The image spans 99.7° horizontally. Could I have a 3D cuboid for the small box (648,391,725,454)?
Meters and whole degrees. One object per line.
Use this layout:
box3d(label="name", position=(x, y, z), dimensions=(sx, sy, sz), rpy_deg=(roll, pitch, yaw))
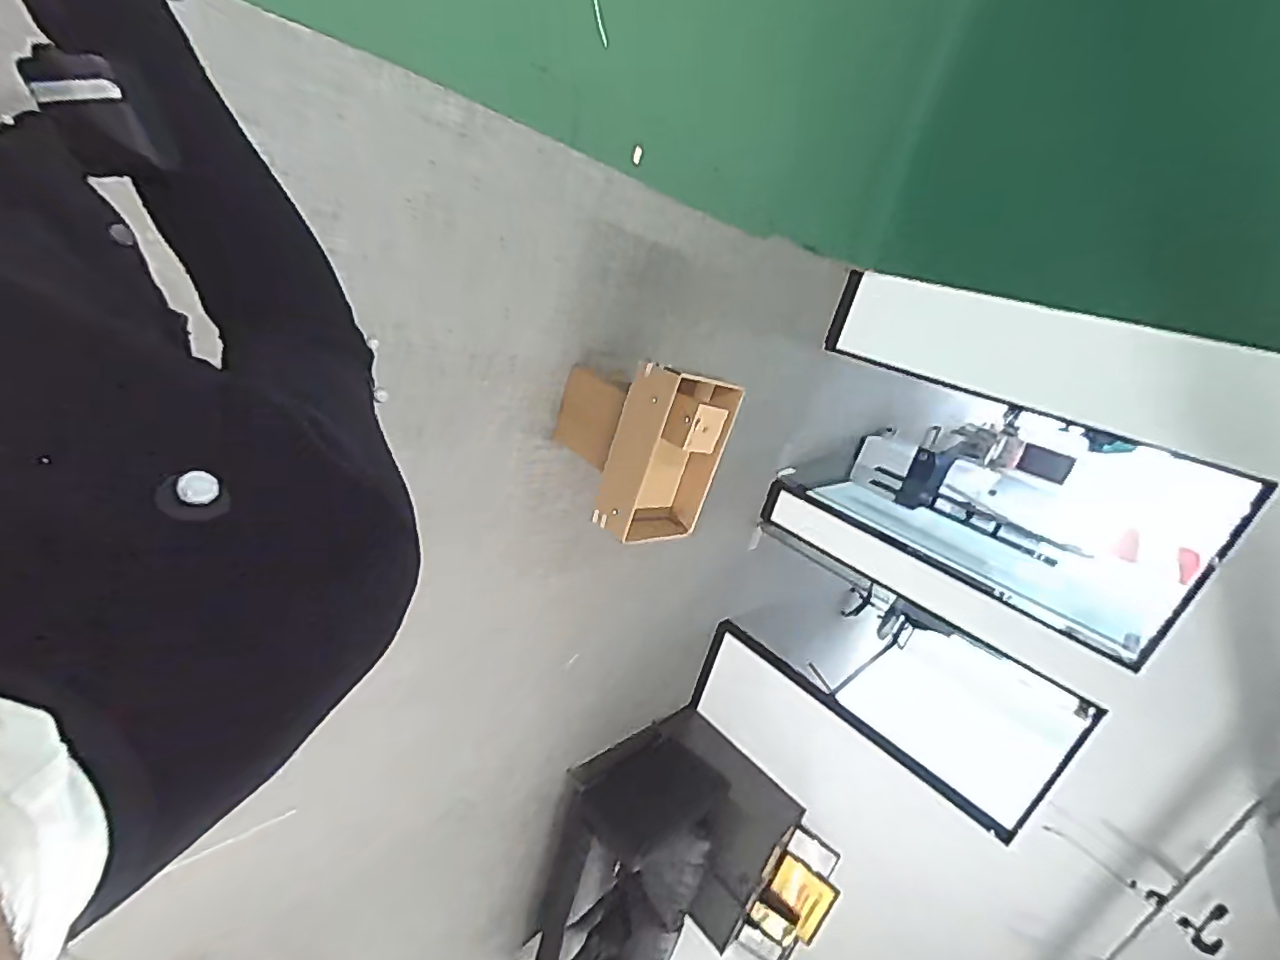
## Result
box3d(label="small box", position=(0.162, -0.203, 1.892), dimensions=(0.179, 0.176, 0.168), rpy_deg=(3, 113, -49))
